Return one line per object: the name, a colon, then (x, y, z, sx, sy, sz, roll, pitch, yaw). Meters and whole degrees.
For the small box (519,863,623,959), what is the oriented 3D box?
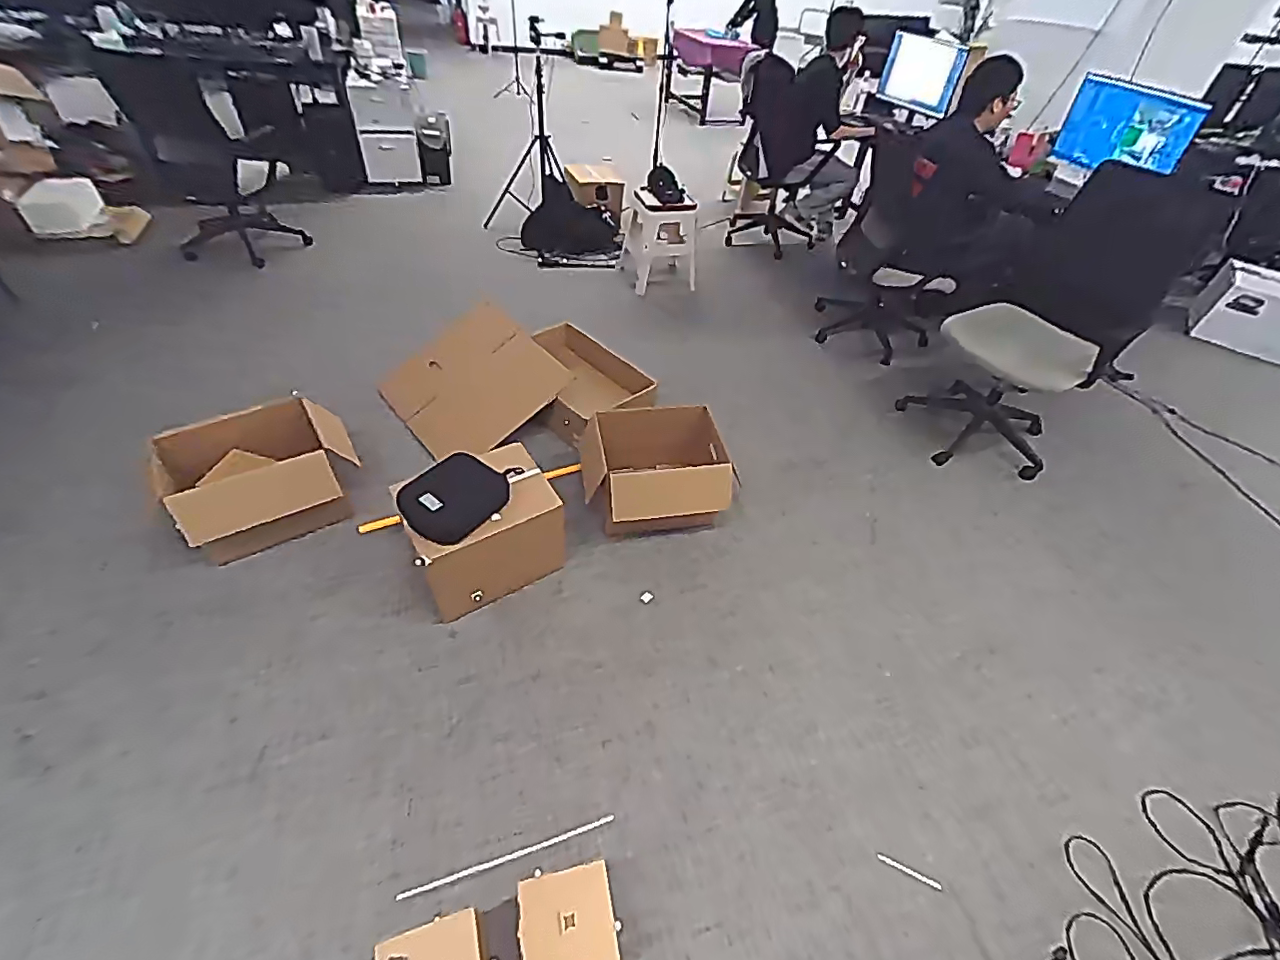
small box: (-0.137, 0.883, 1.063, 0.179, 0.176, 0.168, -8, 47, -11)

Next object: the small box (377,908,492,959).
small box: (-0.368, 0.929, 0.993, 0.179, 0.176, 0.168, -10, 47, -17)
